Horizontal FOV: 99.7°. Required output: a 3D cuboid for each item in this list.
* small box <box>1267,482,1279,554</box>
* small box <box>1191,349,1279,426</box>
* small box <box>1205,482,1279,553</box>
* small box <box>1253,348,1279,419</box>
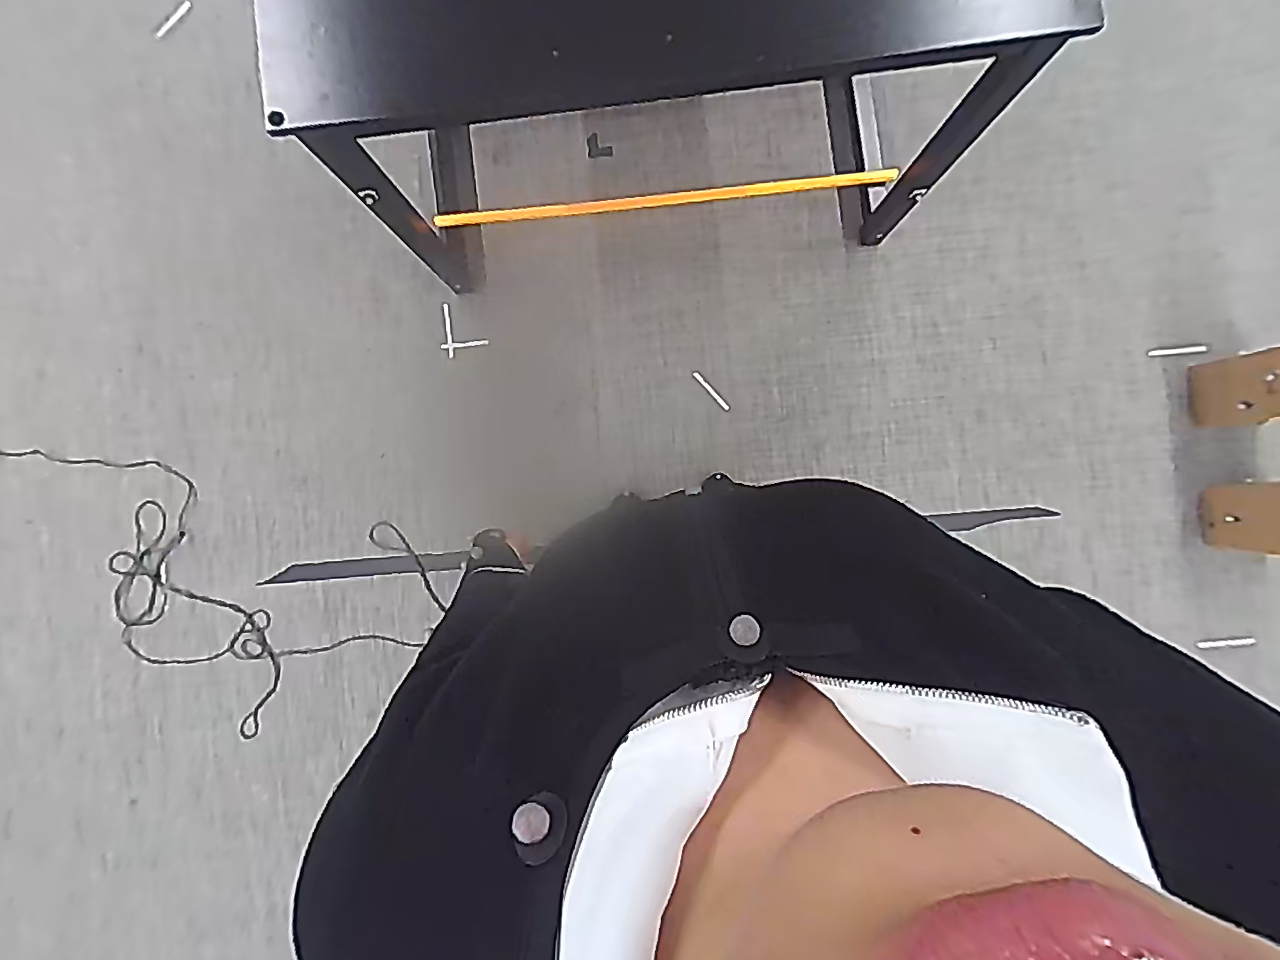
[{"bbox_3d":[1.589,0.084,1.219,0.168,0.176,0.179,-6,90,2],"label":"small box"},{"bbox_3d":[1.582,-0.234,1.384,0.168,0.176,0.179,-8,89,1],"label":"small box"},{"bbox_3d":[1.610,0.092,1.384,0.179,0.176,0.168,-4,90,2],"label":"small box"},{"bbox_3d":[1.572,-0.238,1.222,0.179,0.176,0.168,-7,88,3],"label":"small box"}]
